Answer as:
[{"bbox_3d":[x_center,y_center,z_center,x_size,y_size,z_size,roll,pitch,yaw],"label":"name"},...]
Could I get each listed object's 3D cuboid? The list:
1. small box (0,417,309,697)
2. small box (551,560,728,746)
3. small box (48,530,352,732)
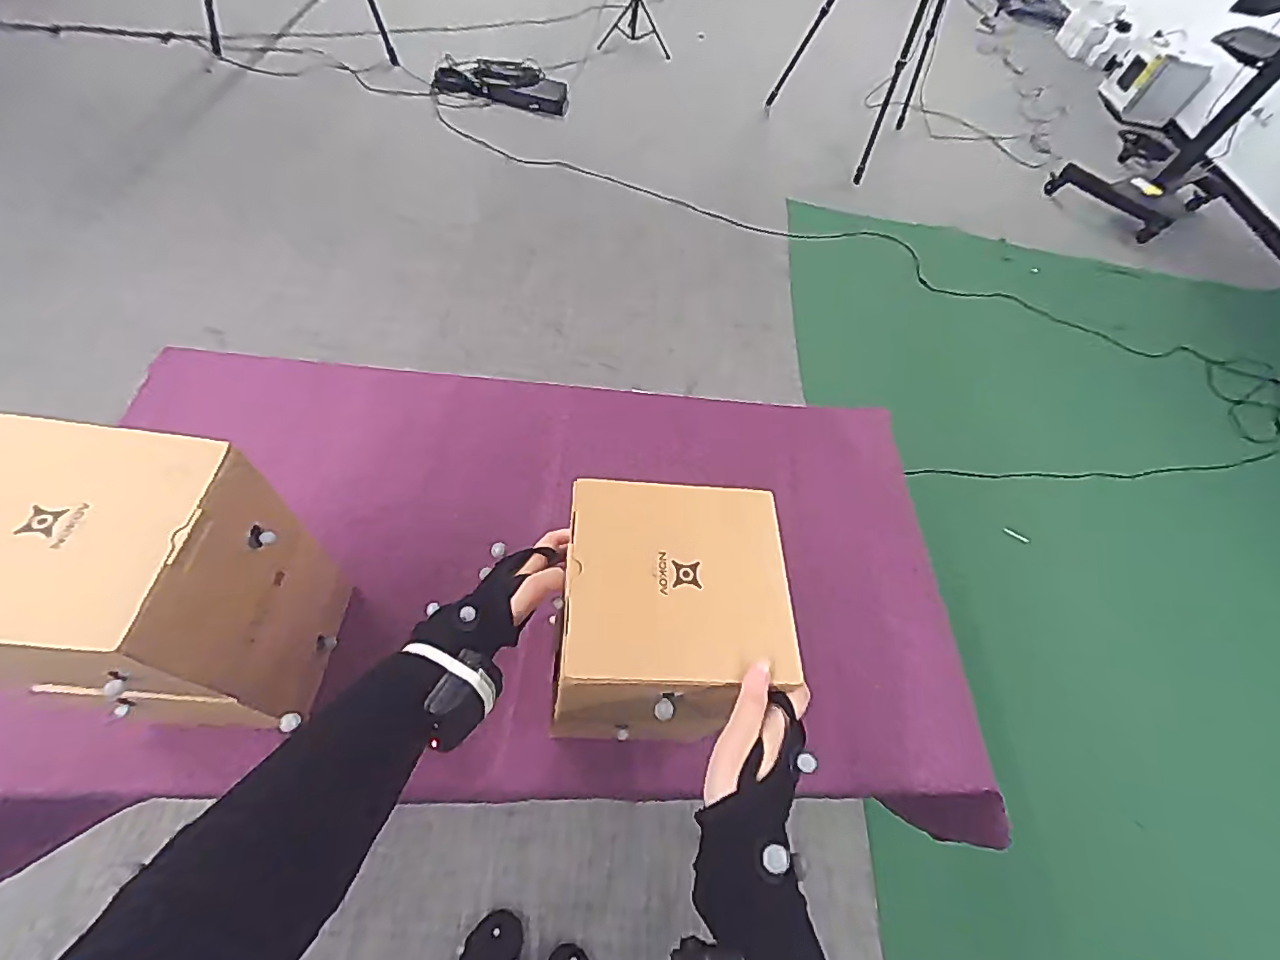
[{"bbox_3d":[-0.414,0.074,0.446,0.179,0.176,0.168,8,57,-4],"label":"small box"},{"bbox_3d":[-0.007,0.207,0.627,0.179,0.176,0.168,6,58,-6],"label":"small box"},{"bbox_3d":[-0.438,0.159,0.584,0.168,0.176,0.179,6,57,-5],"label":"small box"}]
